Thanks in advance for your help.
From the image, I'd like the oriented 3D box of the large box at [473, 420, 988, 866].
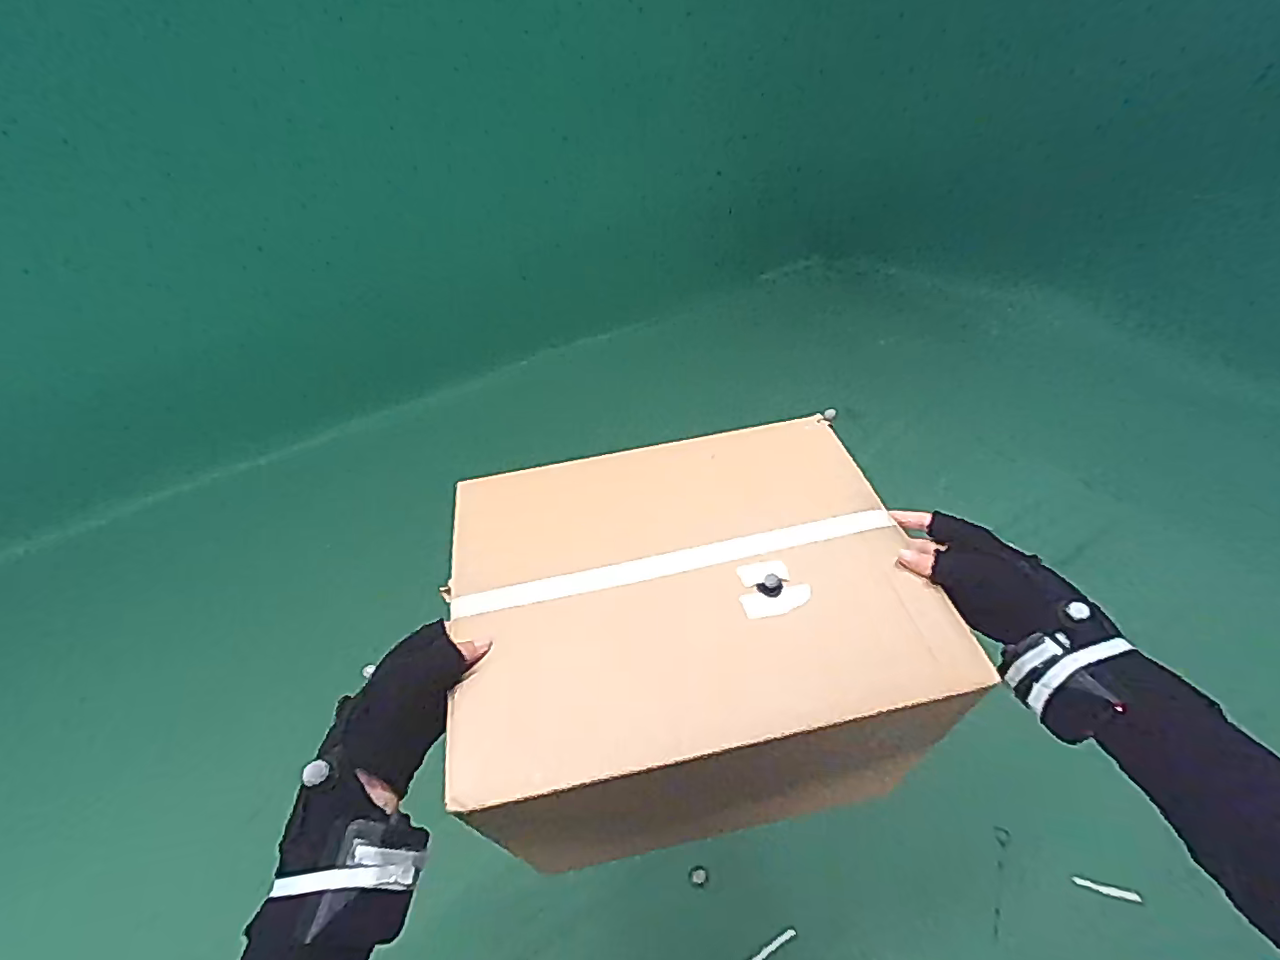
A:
[{"bbox_3d":[0.054,0.176,0.601,0.408,0.320,0.320,-10,47,-5],"label":"large box"}]
